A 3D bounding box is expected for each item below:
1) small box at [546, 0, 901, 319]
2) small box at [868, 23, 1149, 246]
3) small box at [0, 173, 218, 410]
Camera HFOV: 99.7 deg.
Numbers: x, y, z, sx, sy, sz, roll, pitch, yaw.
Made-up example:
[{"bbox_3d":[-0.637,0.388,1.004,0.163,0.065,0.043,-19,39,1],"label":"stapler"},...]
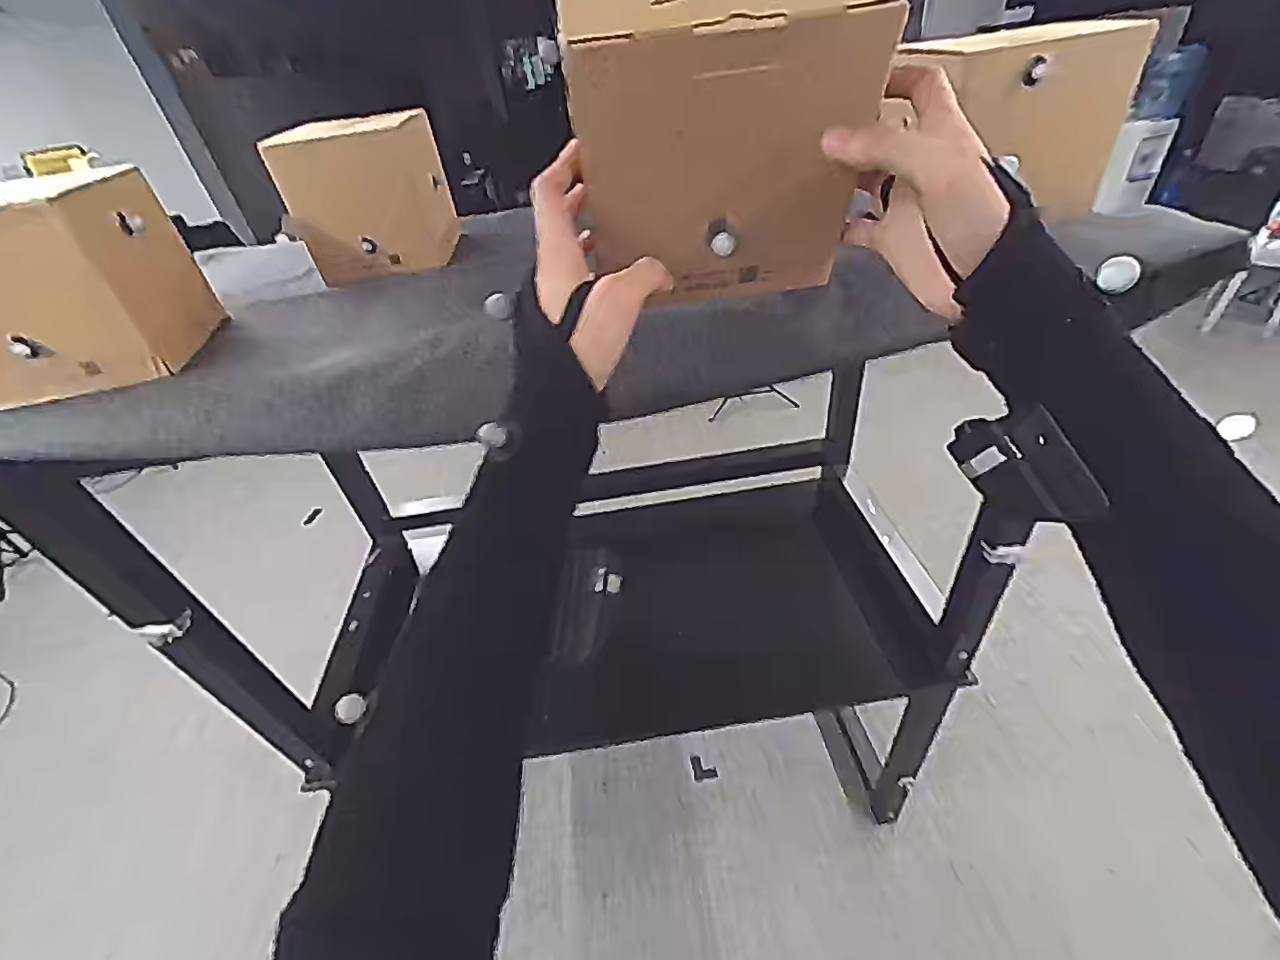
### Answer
[{"bbox_3d":[0.034,-0.236,0.357,0.168,0.176,0.179,-9,61,0],"label":"small box"},{"bbox_3d":[0.361,-0.364,0.579,0.168,0.176,0.179,-8,38,3],"label":"small box"},{"bbox_3d":[-0.578,-0.194,0.547,0.168,0.176,0.179,-15,40,-8],"label":"small box"}]
